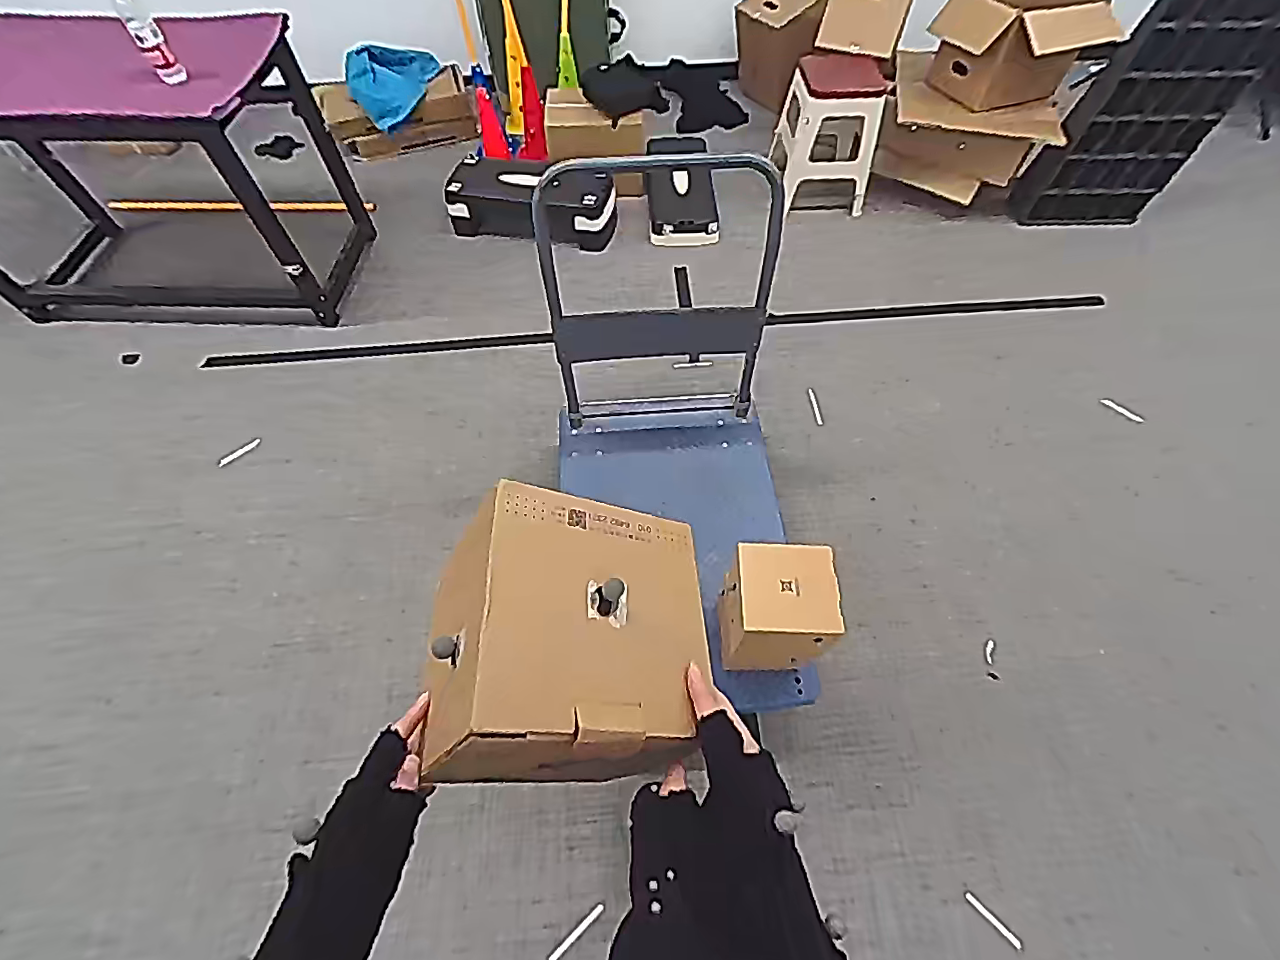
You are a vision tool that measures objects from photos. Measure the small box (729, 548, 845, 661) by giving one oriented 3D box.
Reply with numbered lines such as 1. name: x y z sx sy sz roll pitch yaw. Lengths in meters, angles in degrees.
1. small box: 0.265 0.240 1.024 0.179 0.176 0.168 2 58 1

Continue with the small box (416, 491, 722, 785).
1. small box: -0.062 0.131 0.429 0.168 0.179 0.176 16 49 -25
